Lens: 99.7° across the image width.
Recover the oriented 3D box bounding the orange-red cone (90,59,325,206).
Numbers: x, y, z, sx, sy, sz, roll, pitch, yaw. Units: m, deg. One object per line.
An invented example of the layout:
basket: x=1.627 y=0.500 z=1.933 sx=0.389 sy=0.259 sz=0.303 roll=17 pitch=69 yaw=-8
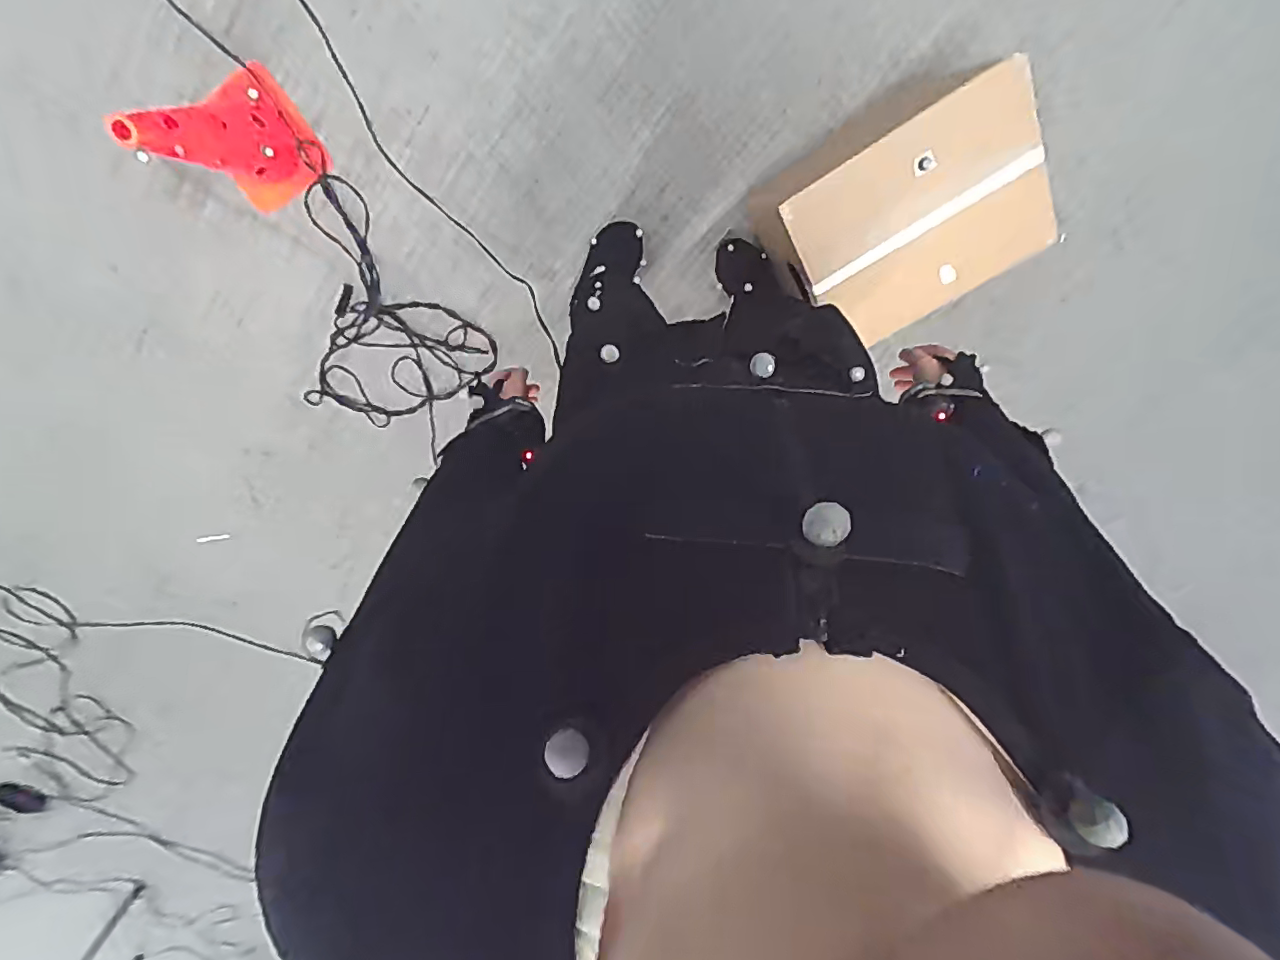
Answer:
orange-red cone: x=-0.745 y=-0.586 z=0.905 sx=0.199 sy=0.360 sz=0.198 roll=-25 pitch=116 yaw=13
